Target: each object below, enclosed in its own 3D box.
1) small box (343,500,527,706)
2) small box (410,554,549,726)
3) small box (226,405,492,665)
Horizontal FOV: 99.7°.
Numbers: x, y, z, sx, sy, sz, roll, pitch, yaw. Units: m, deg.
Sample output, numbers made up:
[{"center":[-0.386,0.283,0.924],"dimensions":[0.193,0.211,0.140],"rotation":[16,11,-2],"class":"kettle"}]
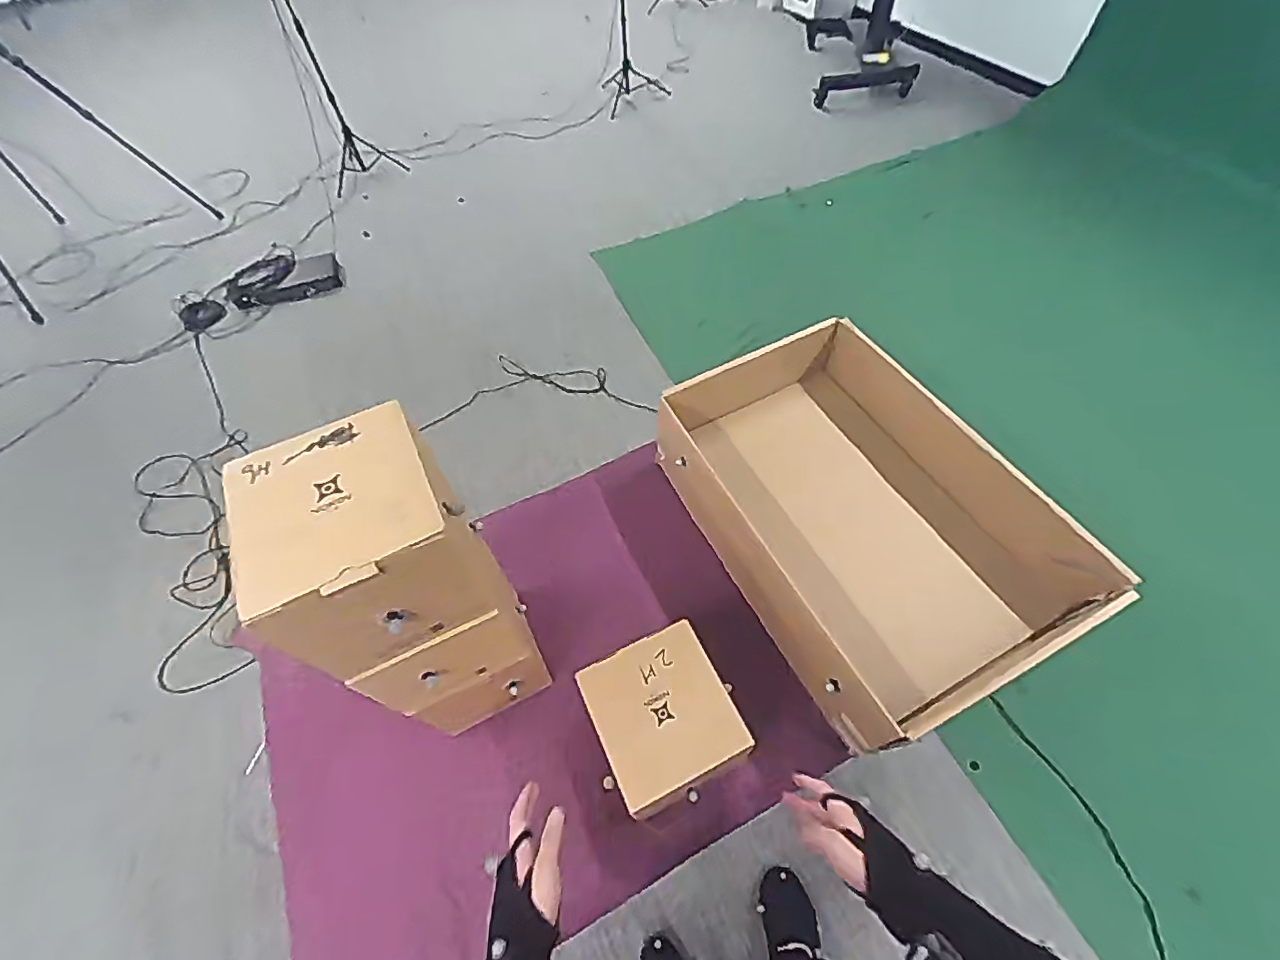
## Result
[{"center":[-0.257,0.160,0.673],"dimensions":[0.168,0.176,0.179],"rotation":[-24,58,-13],"class":"small box"},{"center":[-0.250,0.246,0.809],"dimensions":[0.168,0.176,0.179],"rotation":[-24,58,-13],"class":"small box"},{"center":[-0.266,0.064,0.539],"dimensions":[0.168,0.176,0.179],"rotation":[-25,59,-14],"class":"small box"}]
